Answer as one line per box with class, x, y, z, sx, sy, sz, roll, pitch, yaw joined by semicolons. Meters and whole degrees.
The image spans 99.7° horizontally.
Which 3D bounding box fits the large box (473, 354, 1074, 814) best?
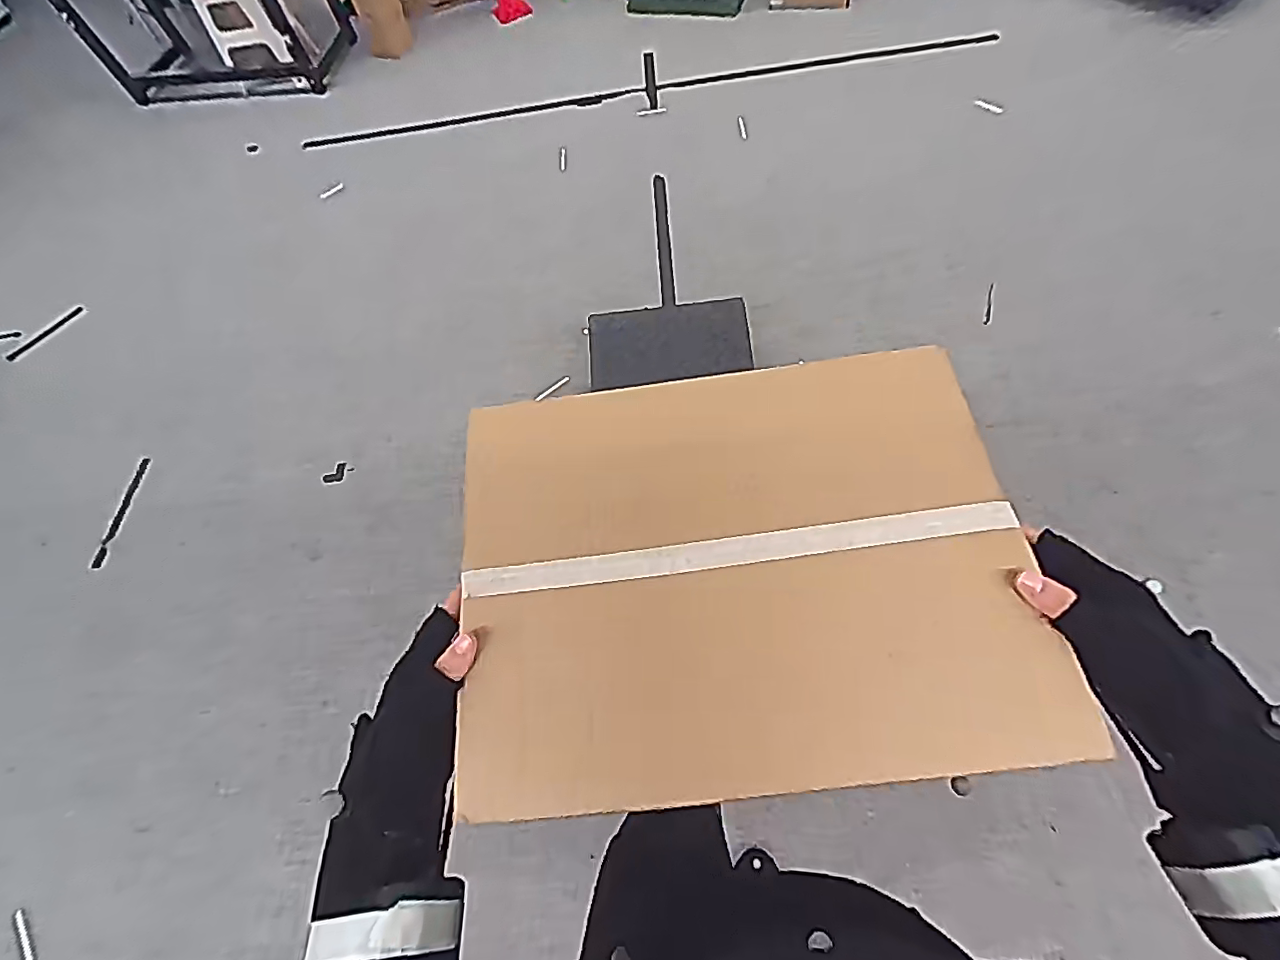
large box;0.084;0.116;0.549;0.408;0.320;0.320;-8;64;3
